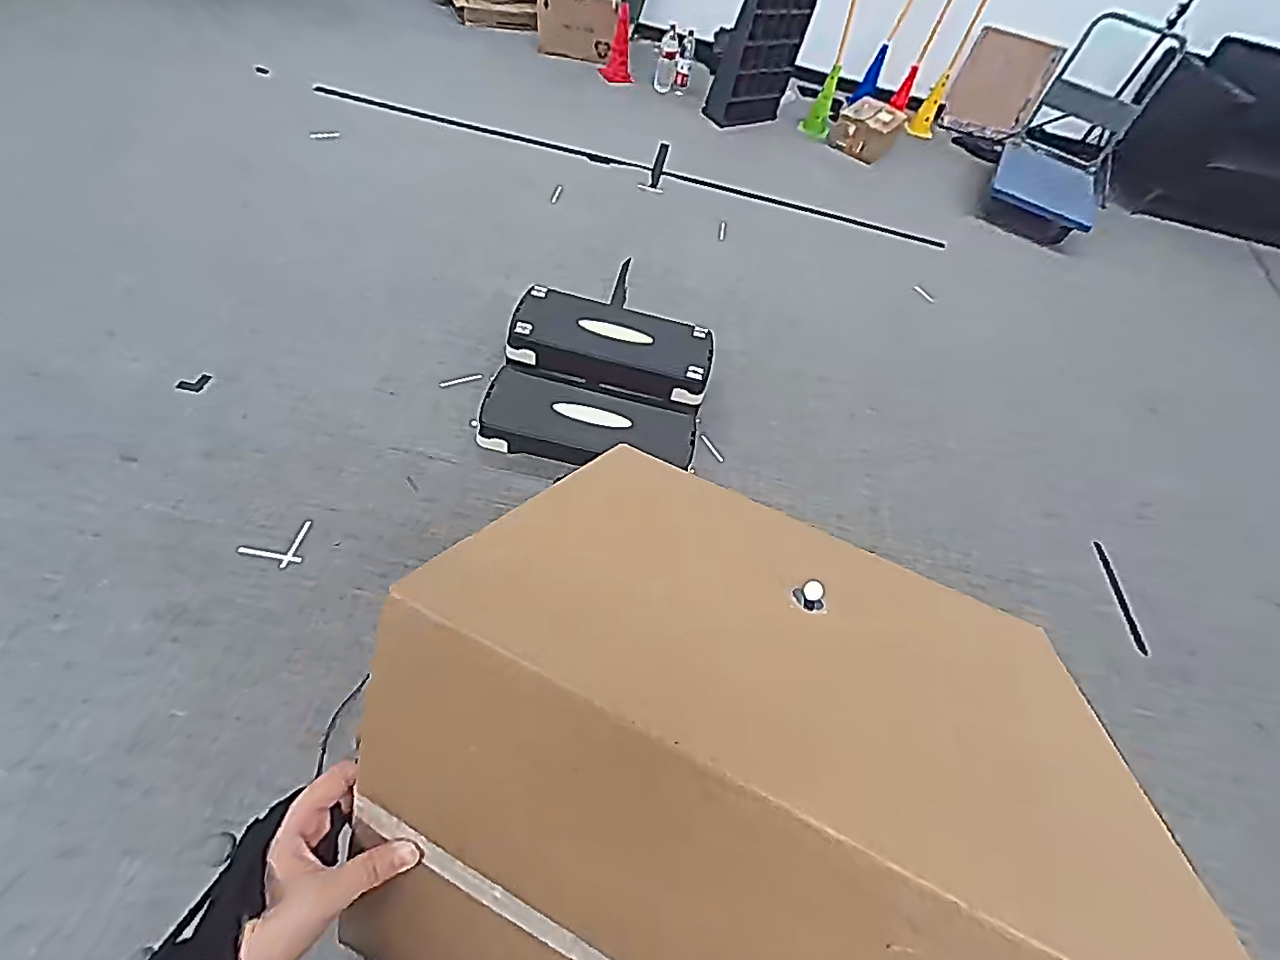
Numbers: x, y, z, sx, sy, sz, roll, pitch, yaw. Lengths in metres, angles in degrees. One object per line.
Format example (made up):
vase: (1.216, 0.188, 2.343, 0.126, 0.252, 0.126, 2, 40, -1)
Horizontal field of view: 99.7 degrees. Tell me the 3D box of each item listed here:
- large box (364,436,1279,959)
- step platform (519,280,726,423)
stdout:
large box: (0.079, 0.200, 0.407, 0.408, 0.320, 0.320, 24, 24, 12)
step platform: (-0.055, -0.440, 1.841, 0.684, 0.204, 0.286, 19, 54, 0)
